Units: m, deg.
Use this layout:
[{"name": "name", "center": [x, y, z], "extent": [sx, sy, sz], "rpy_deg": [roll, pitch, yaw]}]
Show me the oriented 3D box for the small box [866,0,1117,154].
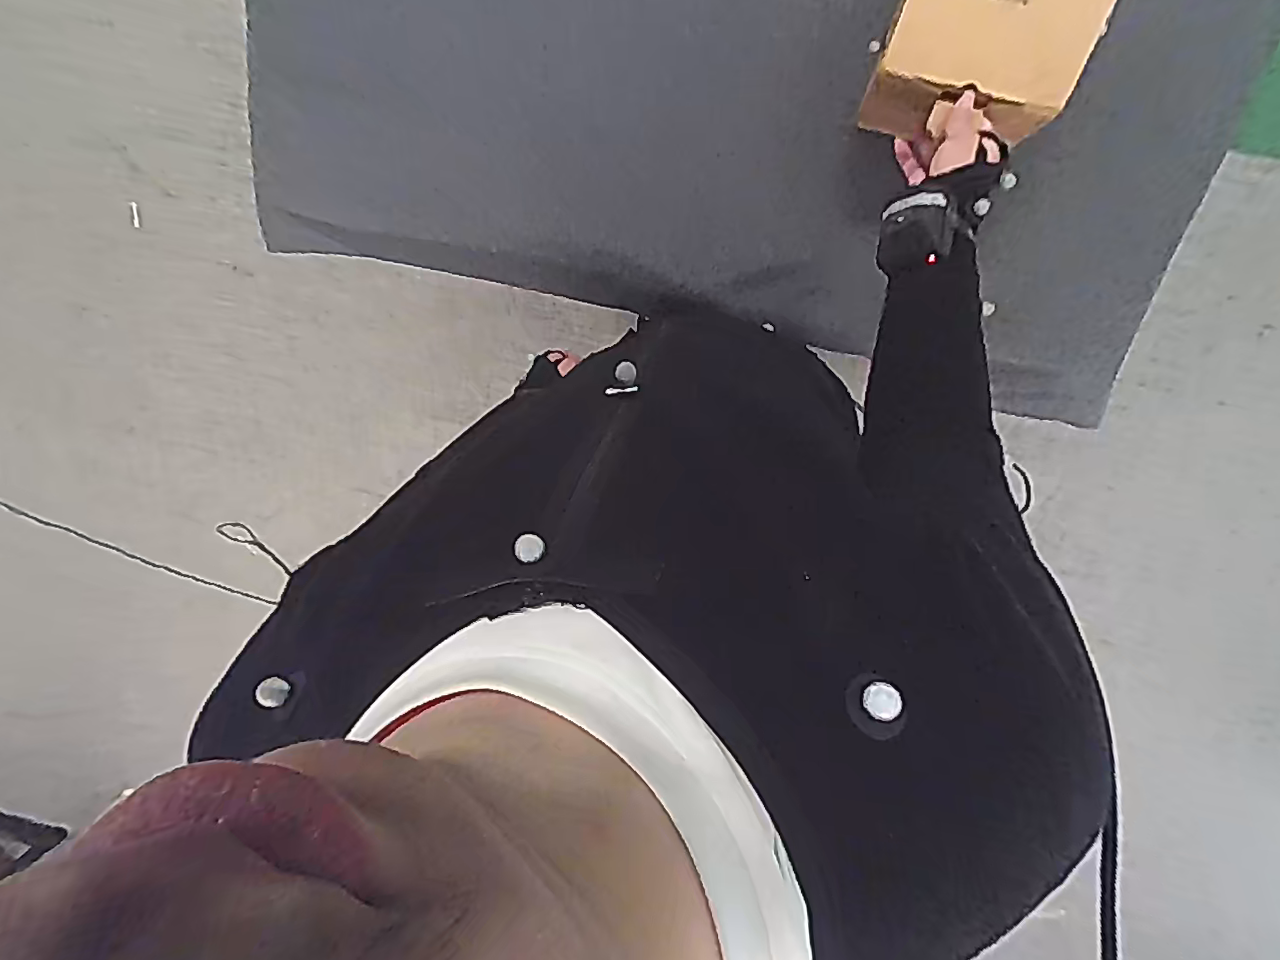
[{"name": "small box", "center": [0.343, -0.455, 0.538], "extent": [0.168, 0.176, 0.179], "rpy_deg": [20, 110, 6]}]
